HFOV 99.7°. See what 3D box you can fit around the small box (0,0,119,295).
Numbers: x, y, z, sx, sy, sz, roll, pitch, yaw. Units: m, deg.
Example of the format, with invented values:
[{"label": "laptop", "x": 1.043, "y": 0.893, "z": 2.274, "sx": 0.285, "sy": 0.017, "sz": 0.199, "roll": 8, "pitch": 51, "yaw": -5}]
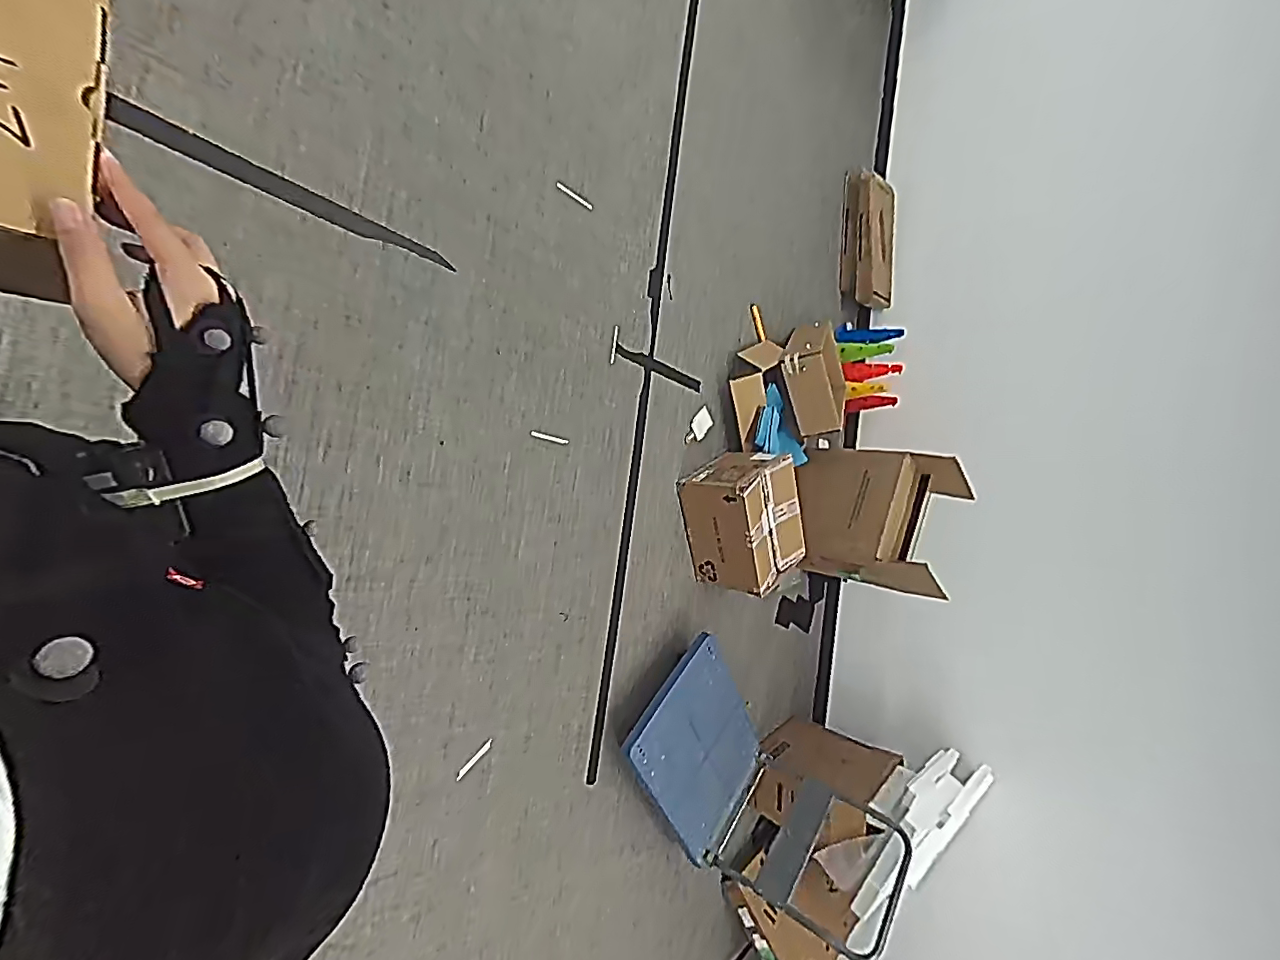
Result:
[{"label": "small box", "x": -0.410, "y": -0.214, "z": 0.290, "sx": 0.179, "sy": 0.176, "sz": 0.168, "roll": 4, "pitch": 90, "yaw": -47}]
